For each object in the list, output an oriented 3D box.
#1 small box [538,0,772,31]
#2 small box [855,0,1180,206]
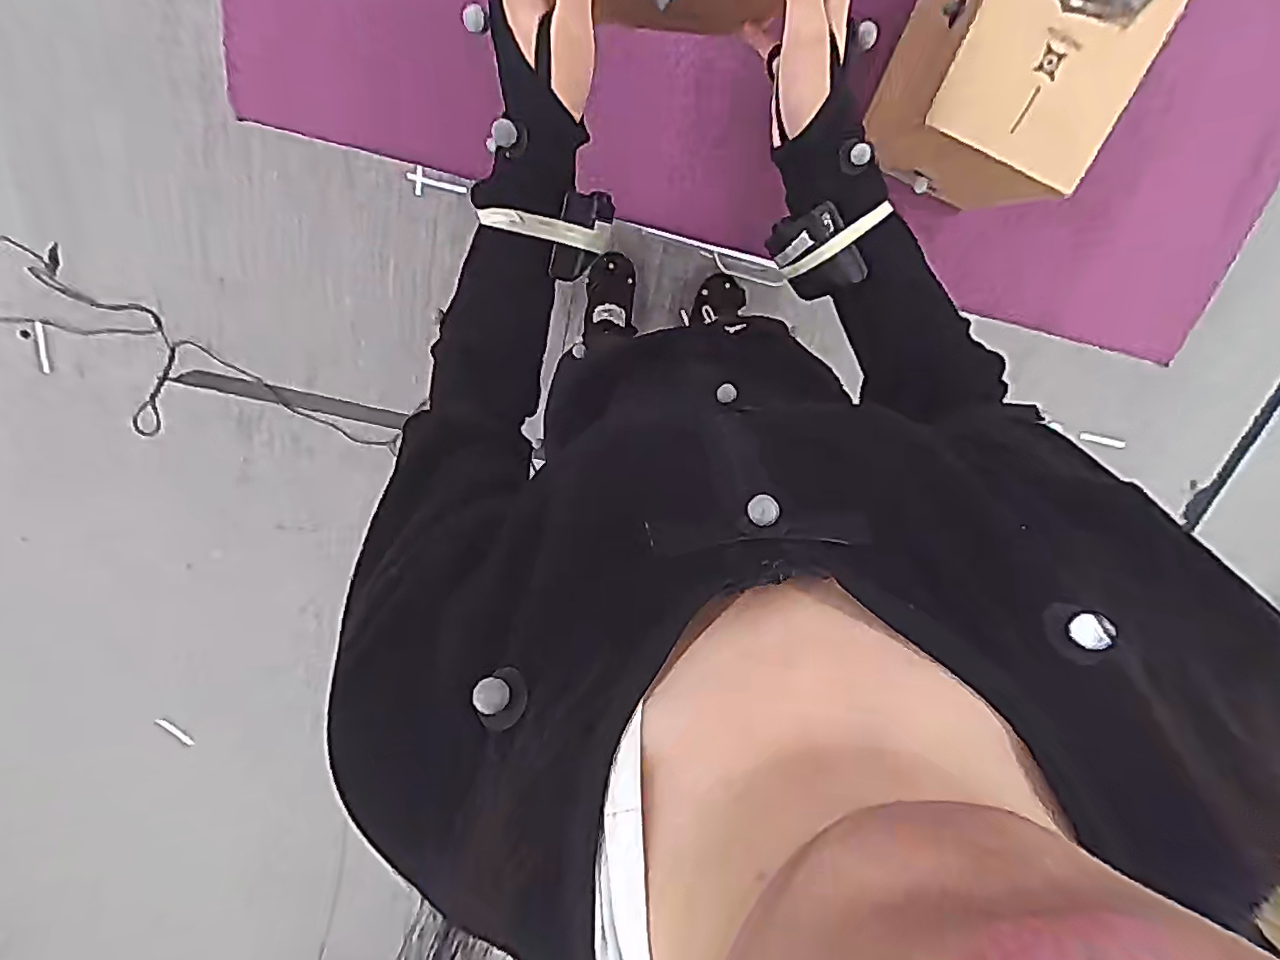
[{"bbox_3d":[0.016,-0.409,0.337,0.179,0.176,0.168,1,118,-7],"label":"small box"},{"bbox_3d":[0.349,-0.399,0.540,0.168,0.176,0.179,19,111,-11],"label":"small box"}]
